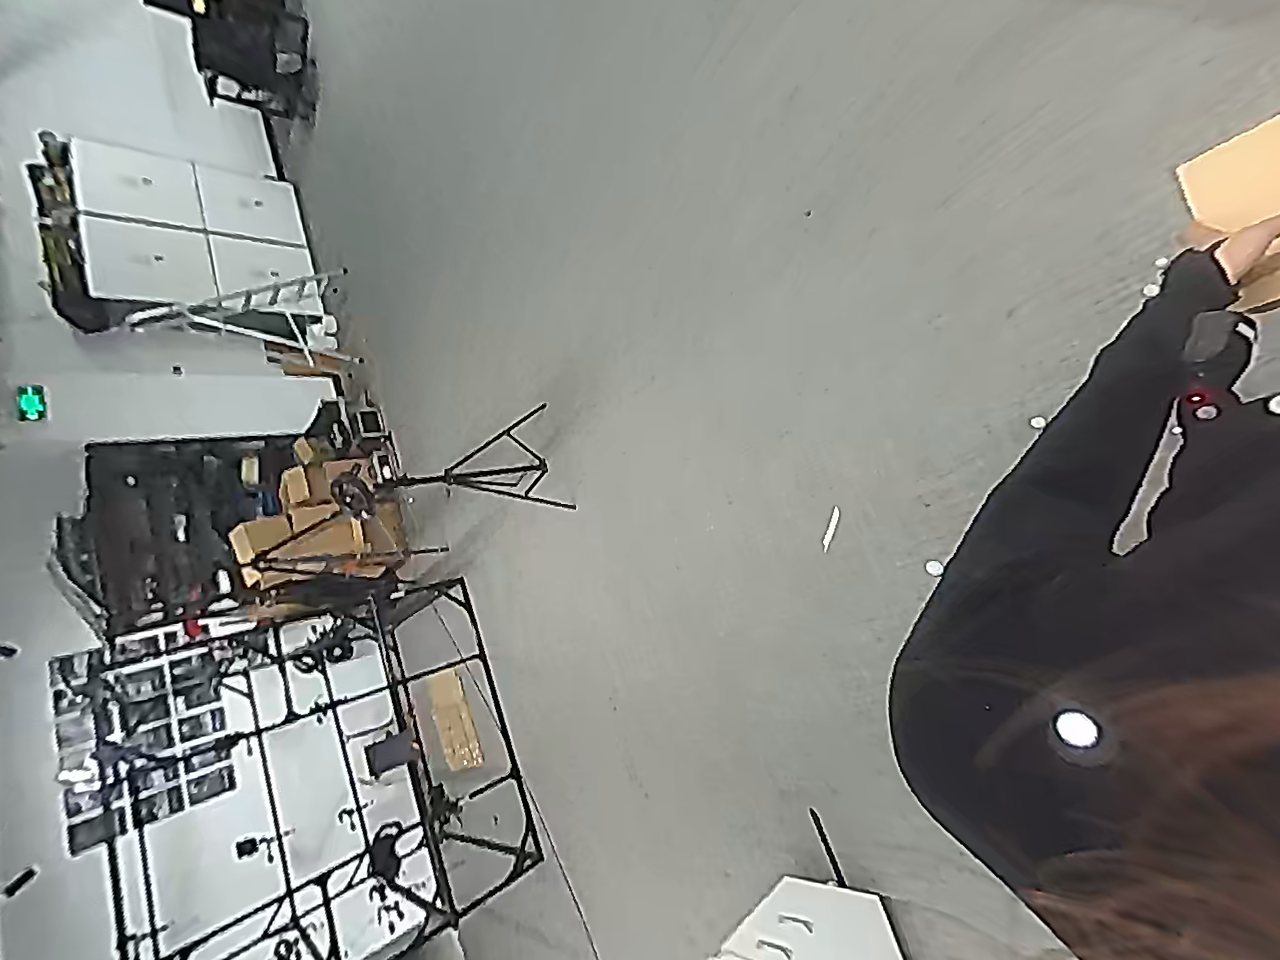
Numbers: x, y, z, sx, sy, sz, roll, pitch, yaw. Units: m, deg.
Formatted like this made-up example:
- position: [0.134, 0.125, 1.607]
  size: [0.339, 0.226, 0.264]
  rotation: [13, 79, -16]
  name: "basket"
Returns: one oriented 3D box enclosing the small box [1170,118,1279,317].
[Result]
- position: [0.681, -0.272, 0.531]
  size: [0.179, 0.176, 0.168]
  rotation: [-22, 83, 54]
  name: "small box"
